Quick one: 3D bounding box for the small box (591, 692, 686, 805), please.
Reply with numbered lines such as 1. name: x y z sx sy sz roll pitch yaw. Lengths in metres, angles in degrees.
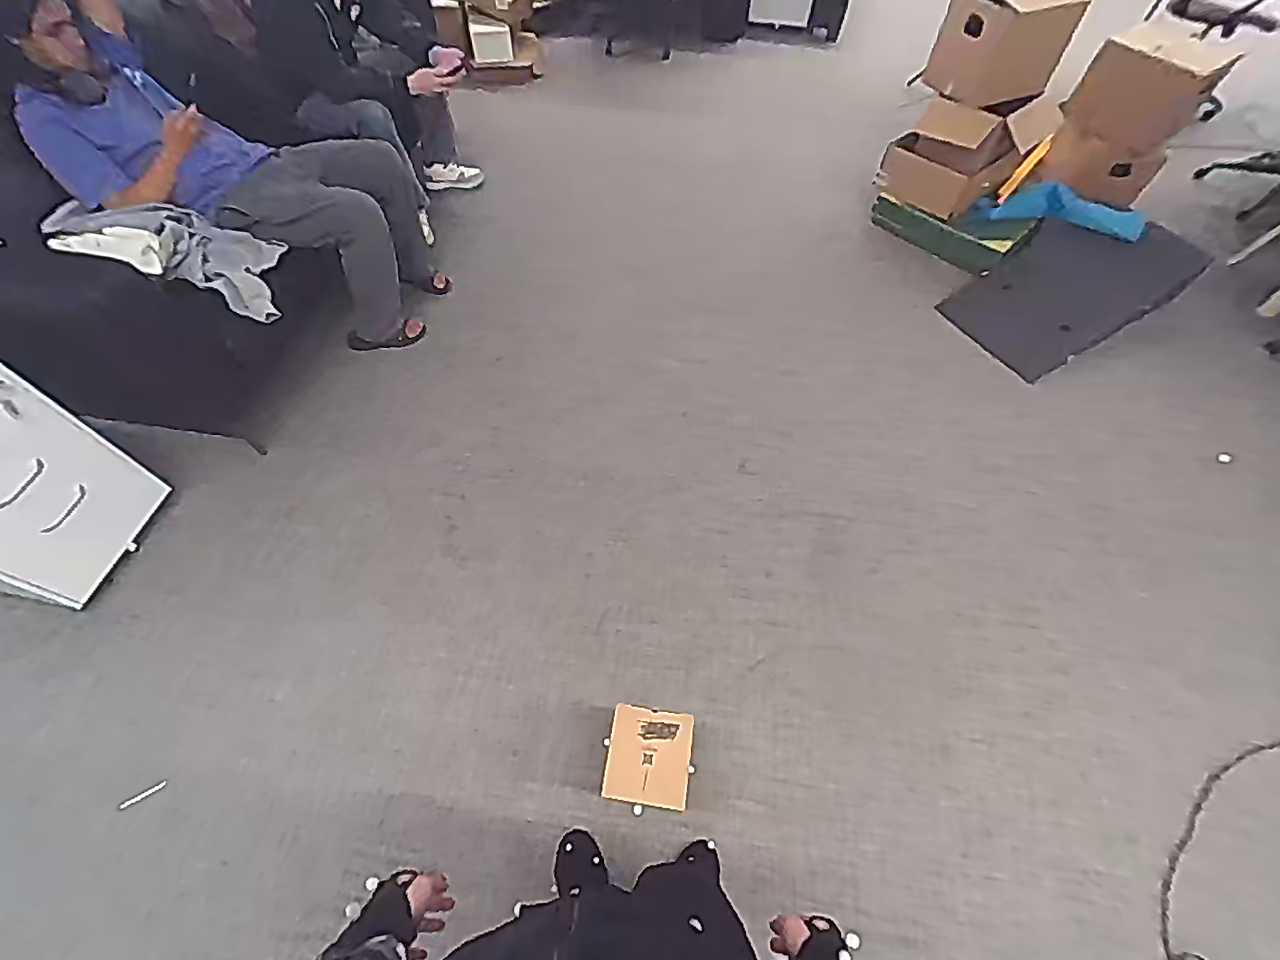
1. small box: -0.003 0.575 1.153 0.168 0.176 0.179 10 58 5
